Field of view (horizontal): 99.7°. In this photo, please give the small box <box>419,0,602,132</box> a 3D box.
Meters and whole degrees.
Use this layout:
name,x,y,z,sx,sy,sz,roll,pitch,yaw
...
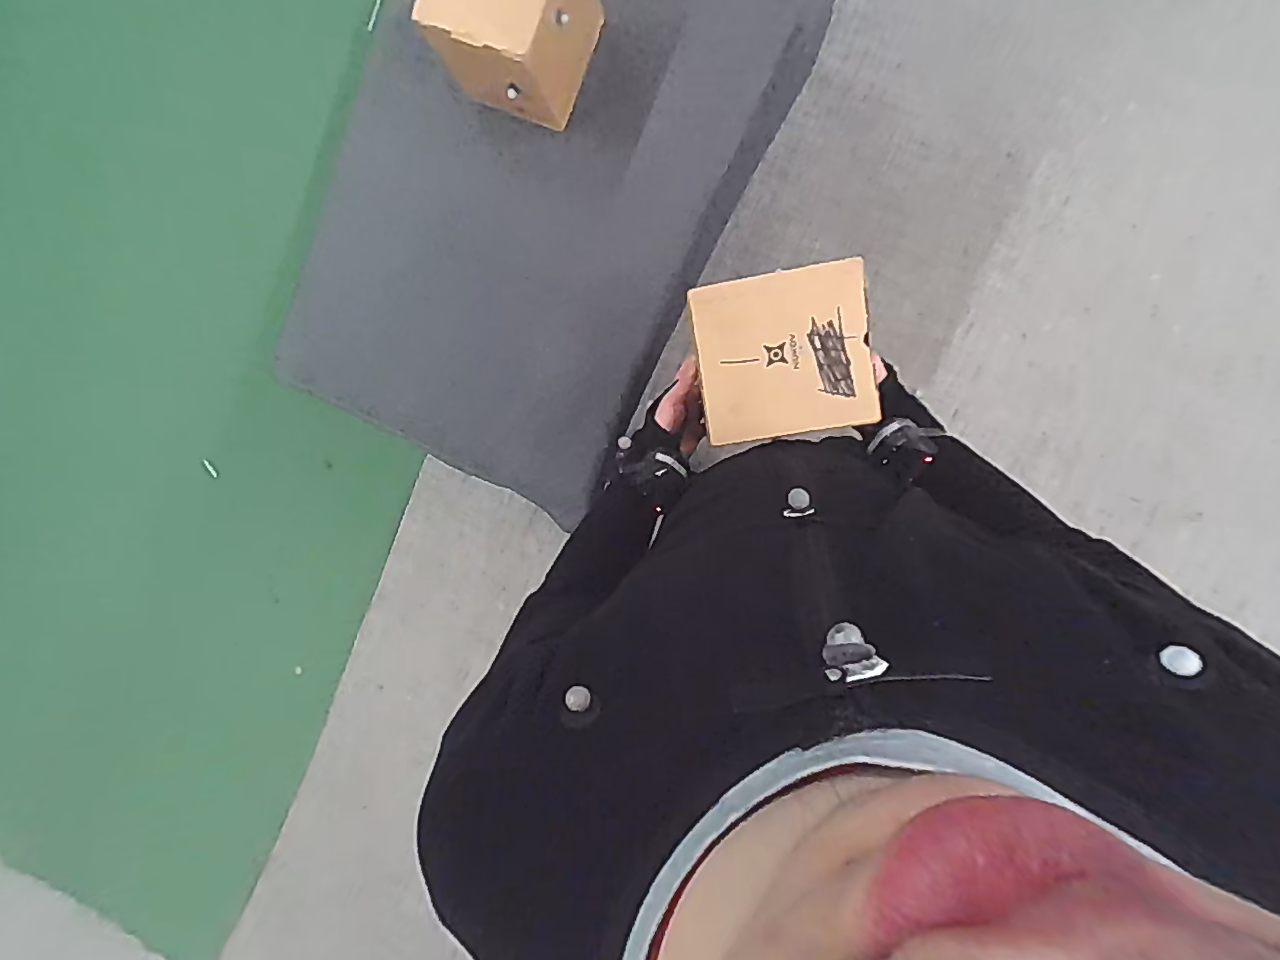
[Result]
name,x,y,z,sx,sy,sz,roll,pitch,yaw
small box,-0.167,-0.631,0.752,0.168,0.176,0.179,24,96,6
